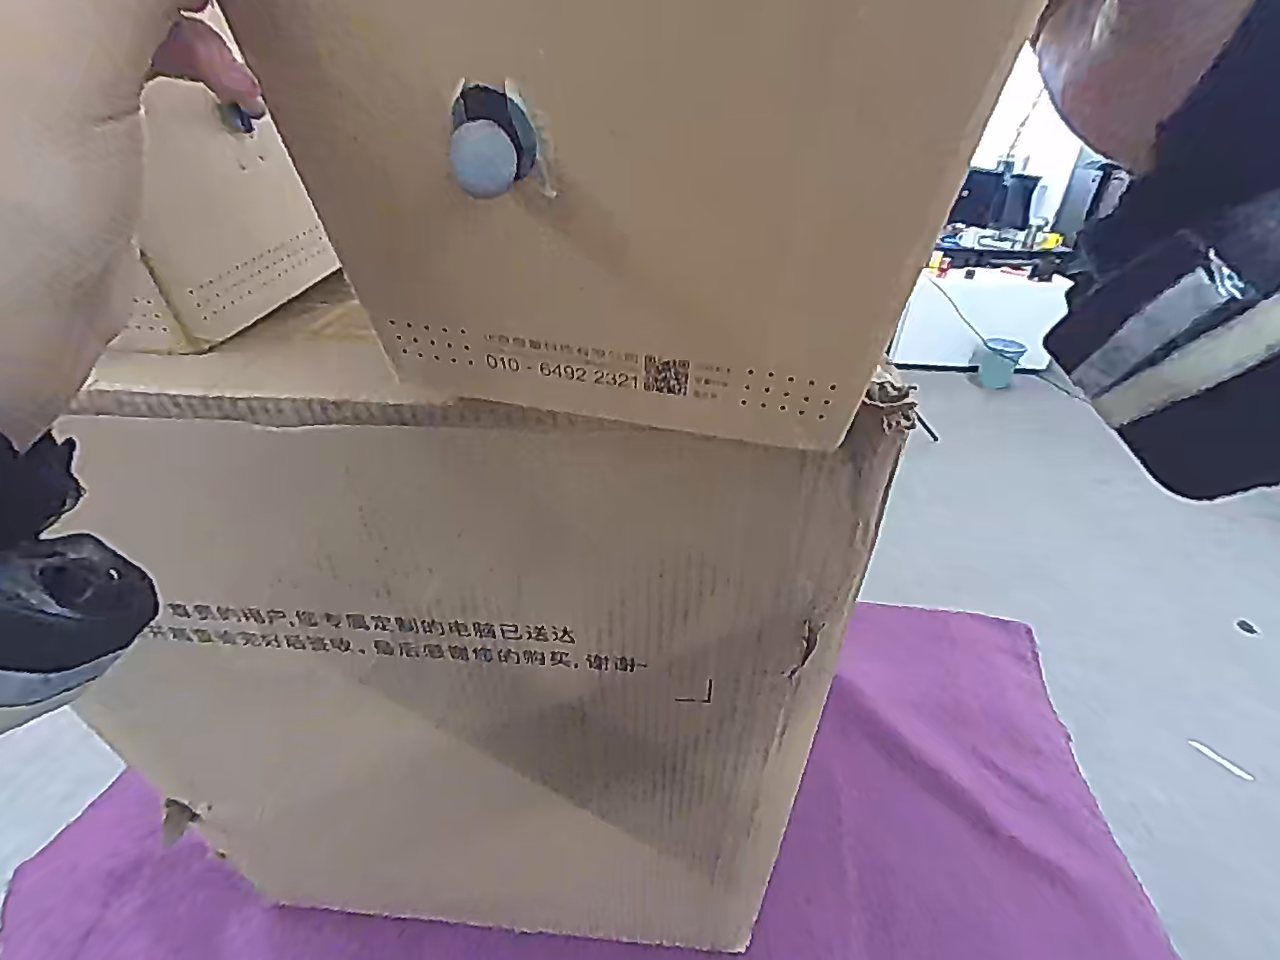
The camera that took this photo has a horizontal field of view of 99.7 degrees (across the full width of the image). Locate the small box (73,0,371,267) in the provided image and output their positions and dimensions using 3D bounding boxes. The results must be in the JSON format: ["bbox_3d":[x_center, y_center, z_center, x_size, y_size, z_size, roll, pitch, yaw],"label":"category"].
[{"bbox_3d":[-0.252,-0.271,0.424,0.179,0.176,0.168,3,33,3],"label":"small box"}]

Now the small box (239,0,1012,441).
[{"bbox_3d":[0.007,-0.135,0.184,0.168,0.176,0.179,9,53,7],"label":"small box"}]
